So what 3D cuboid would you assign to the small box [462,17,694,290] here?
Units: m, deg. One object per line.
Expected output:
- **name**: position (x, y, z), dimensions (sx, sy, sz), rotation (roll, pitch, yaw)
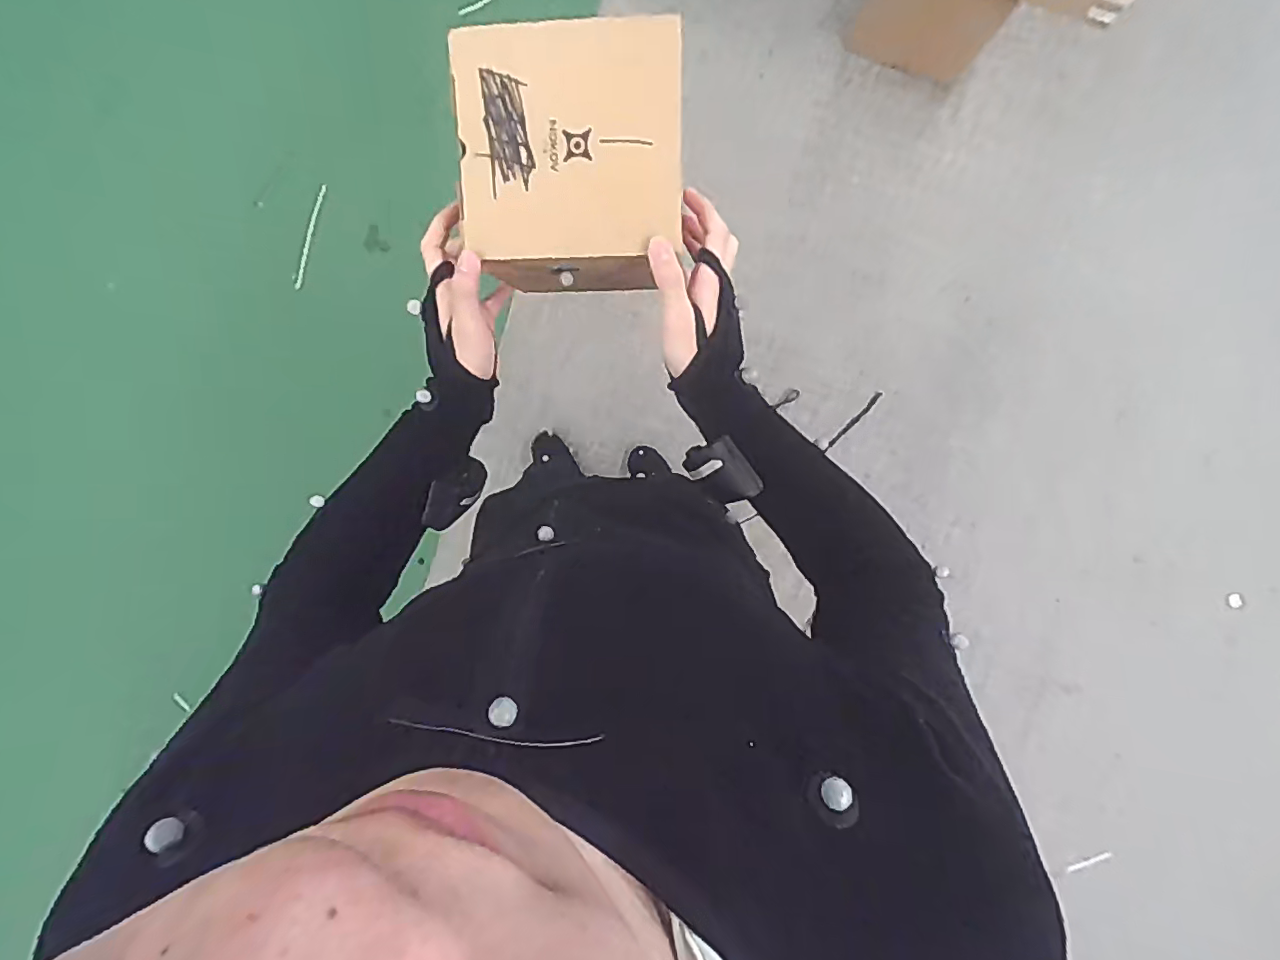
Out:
- **small box**: position (-0.043, -0.271, 0.490), dimensions (0.179, 0.176, 0.168), rotation (1, 100, 3)
